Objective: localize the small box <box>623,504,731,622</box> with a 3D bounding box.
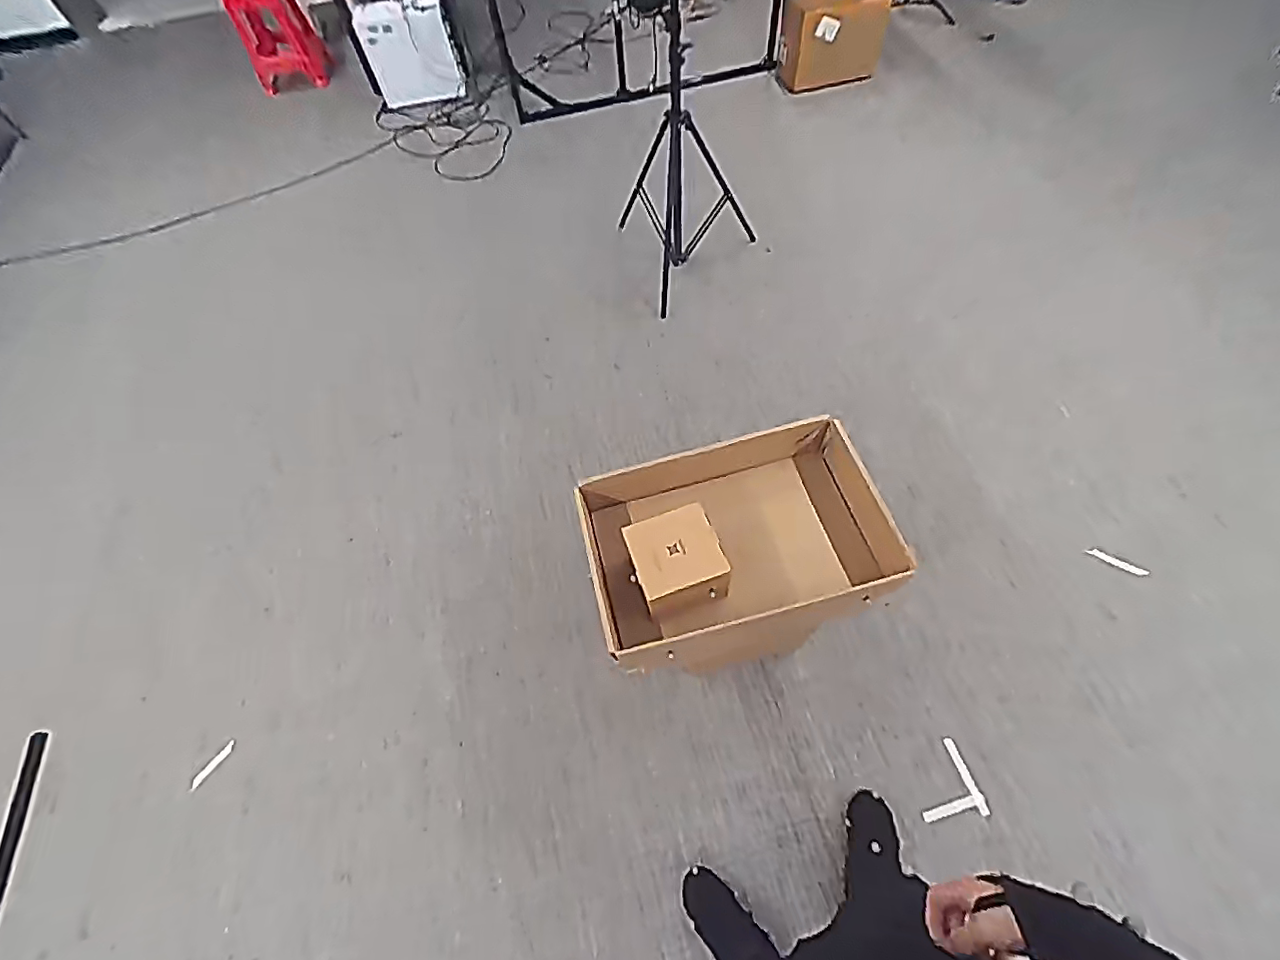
[{"bbox_3d":[0.076,0.179,1.139,0.179,0.176,0.168,-19,60,-4],"label":"small box"}]
